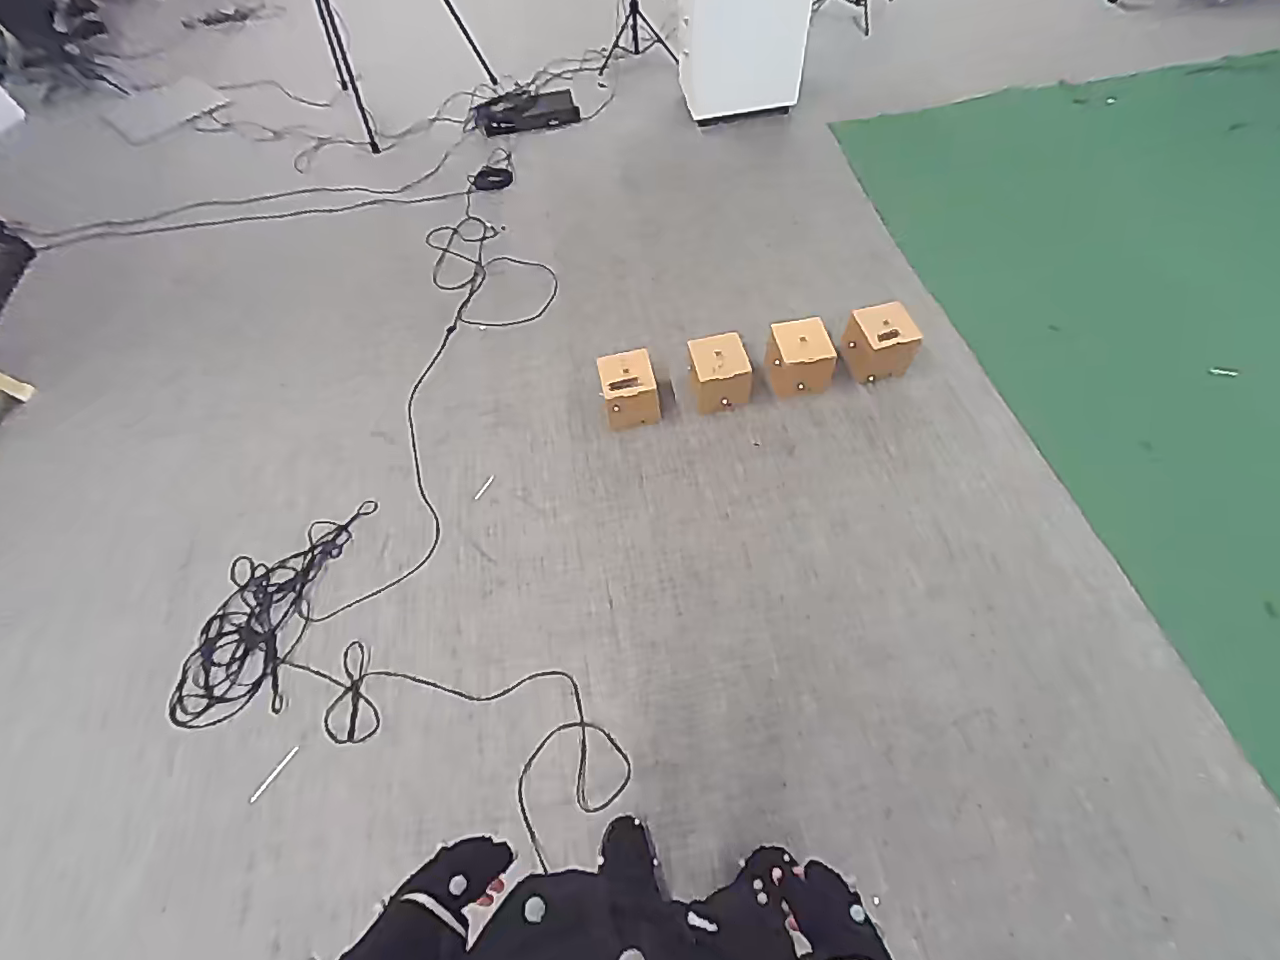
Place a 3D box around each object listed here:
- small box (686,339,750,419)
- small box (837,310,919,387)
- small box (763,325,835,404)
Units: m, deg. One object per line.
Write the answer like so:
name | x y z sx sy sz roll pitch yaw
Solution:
small box | 0.246 -0.324 1.752 0.168 0.176 0.179 -12 59 -1
small box | 0.774 -0.424 1.774 0.168 0.176 0.179 -12 59 -3
small box | 0.509 -0.373 1.765 0.168 0.176 0.179 -9 59 -2
